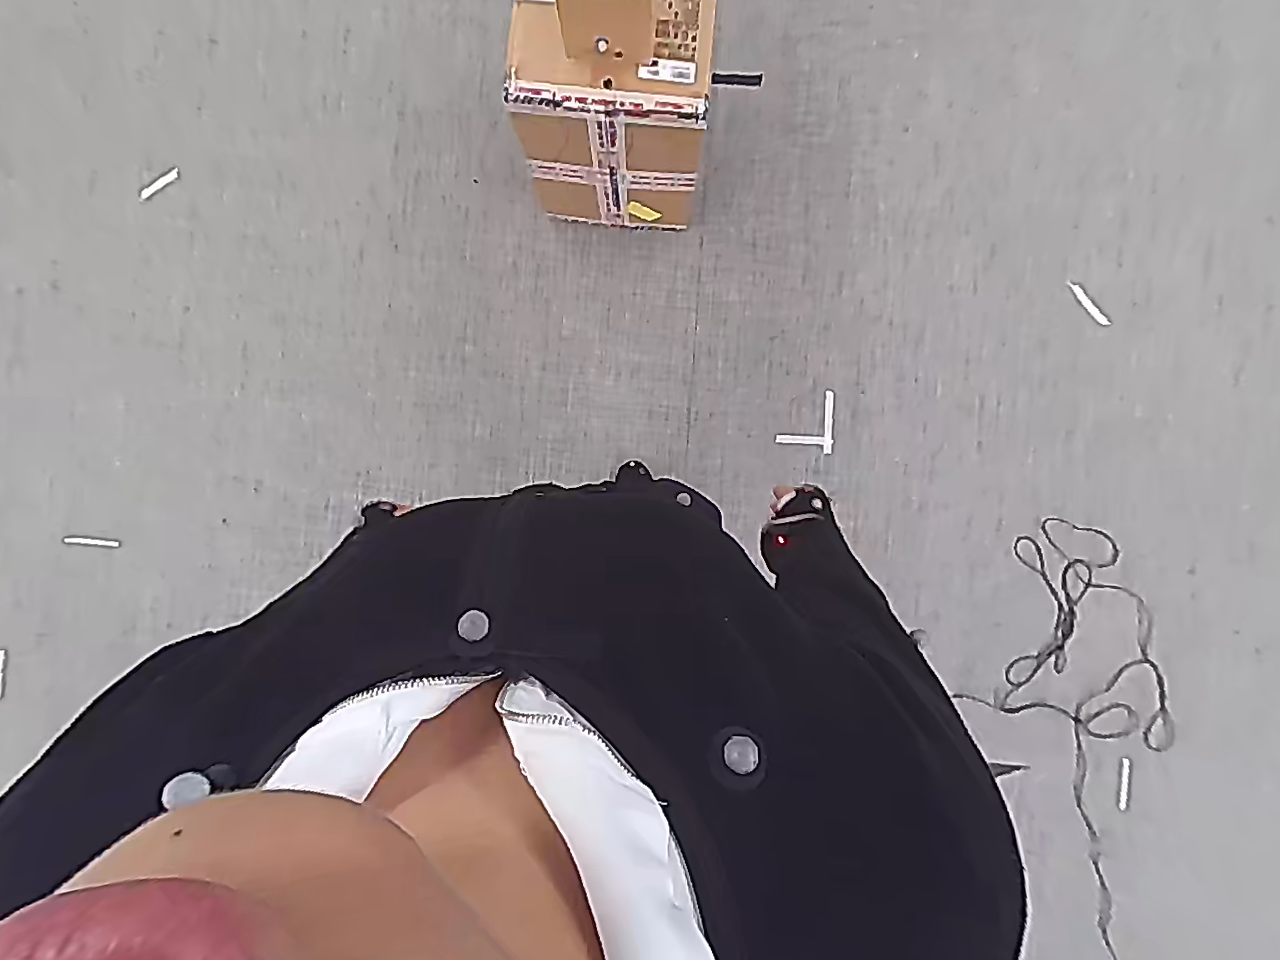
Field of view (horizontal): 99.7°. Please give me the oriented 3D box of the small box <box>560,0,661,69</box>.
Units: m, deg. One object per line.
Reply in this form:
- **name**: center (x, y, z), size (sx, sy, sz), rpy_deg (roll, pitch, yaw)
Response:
- **small box**: center (-0.048, -0.872, 0.941), size (0.168, 0.176, 0.179), rpy_deg (7, 93, 0)
